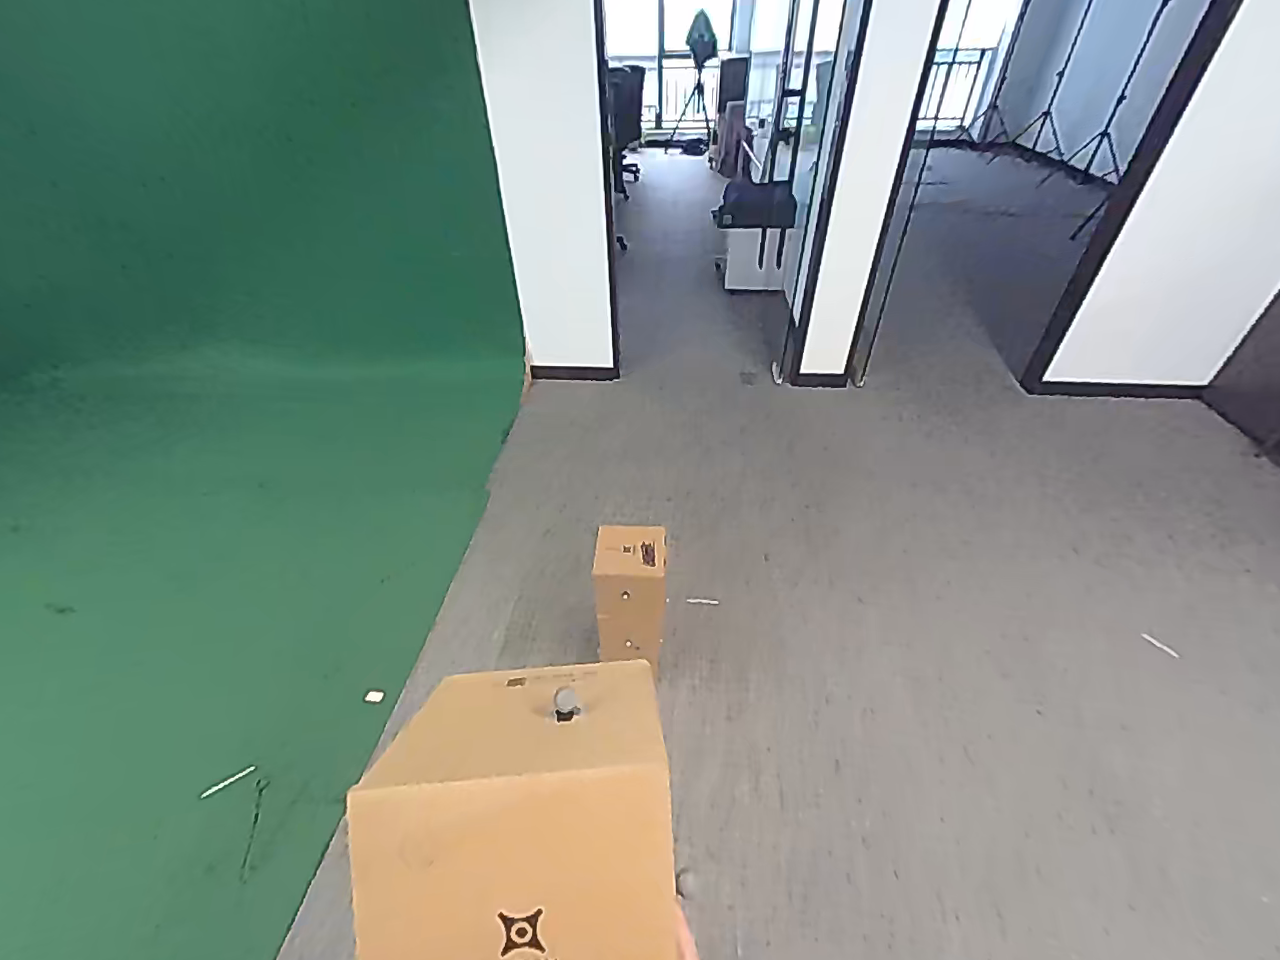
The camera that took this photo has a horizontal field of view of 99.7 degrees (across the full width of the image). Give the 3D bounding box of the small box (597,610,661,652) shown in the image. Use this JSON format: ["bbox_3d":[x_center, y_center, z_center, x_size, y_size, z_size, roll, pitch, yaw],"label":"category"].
[{"bbox_3d":[-0.026,0.357,1.514,0.168,0.176,0.179,0,42,2],"label":"small box"}]

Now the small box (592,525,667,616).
[{"bbox_3d":[-0.022,0.237,1.402,0.179,0.176,0.168,1,41,4],"label":"small box"}]

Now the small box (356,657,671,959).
[{"bbox_3d":[-0.071,0.233,0.373,0.168,0.179,0.176,-3,2,-3],"label":"small box"}]
